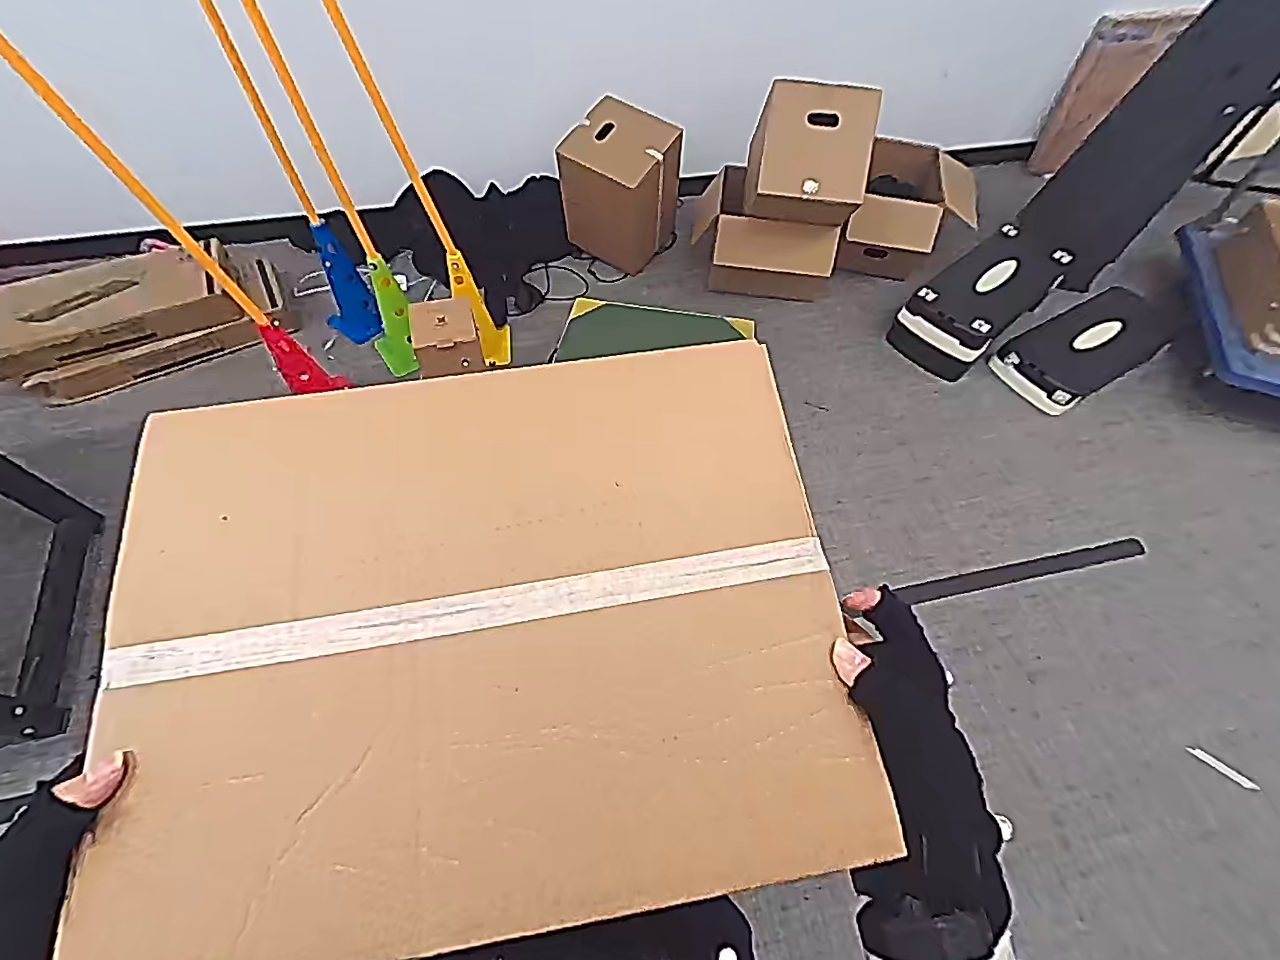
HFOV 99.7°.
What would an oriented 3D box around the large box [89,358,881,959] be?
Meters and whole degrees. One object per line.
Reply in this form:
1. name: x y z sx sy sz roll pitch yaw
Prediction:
1. large box: -0.093 0.135 0.457 0.408 0.320 0.320 -9 69 -4
